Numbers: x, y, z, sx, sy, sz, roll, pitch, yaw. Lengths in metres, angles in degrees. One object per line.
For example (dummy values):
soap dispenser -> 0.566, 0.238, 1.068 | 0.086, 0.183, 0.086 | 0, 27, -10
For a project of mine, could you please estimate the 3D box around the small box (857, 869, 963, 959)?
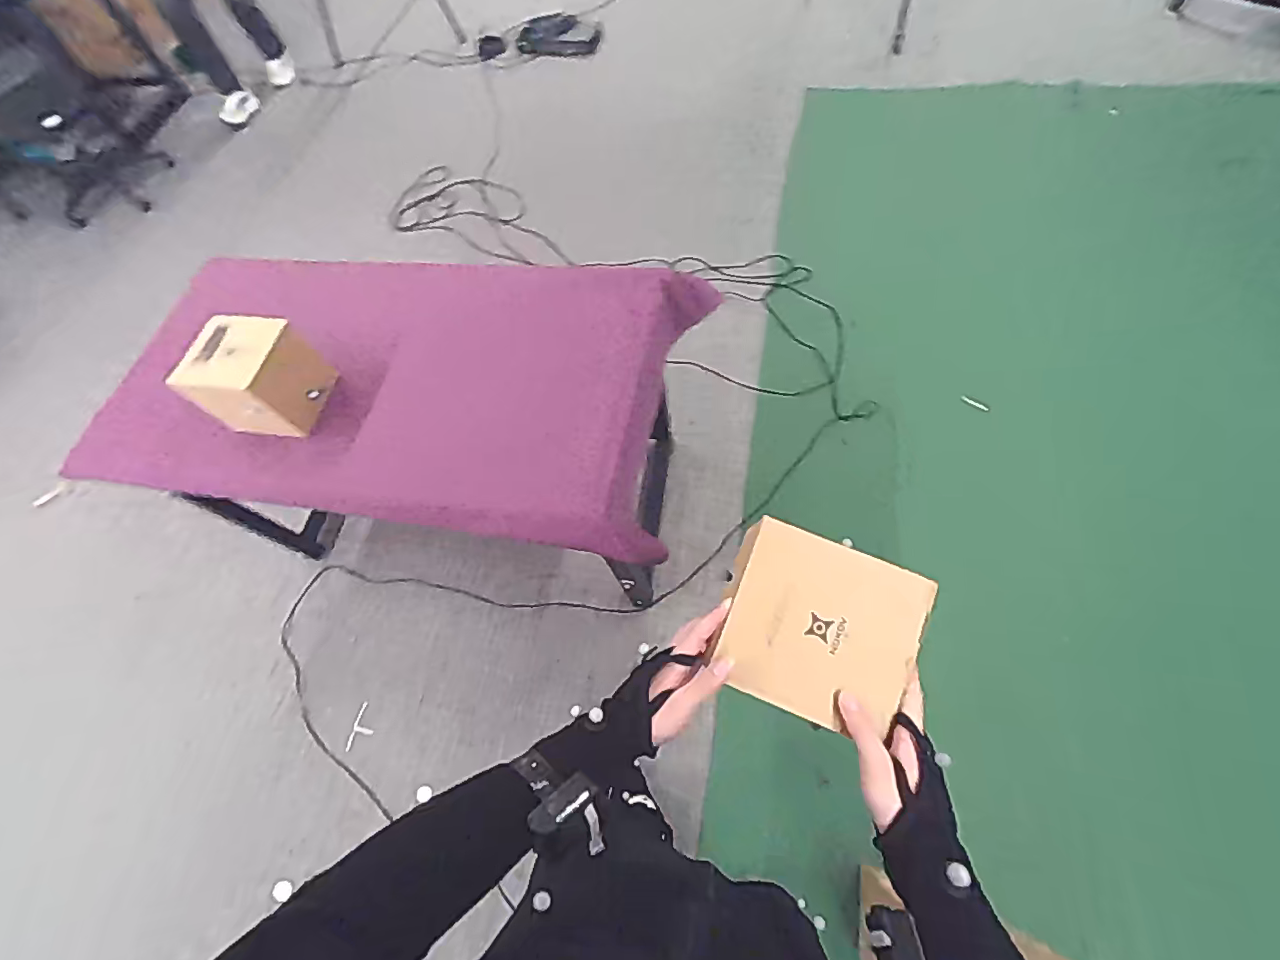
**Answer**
small box -> 0.555, 0.944, 1.123 | 0.168, 0.176, 0.179 | 8, 64, 12

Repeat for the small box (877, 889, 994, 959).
small box -> 0.535, 0.877, 0.976 | 0.168, 0.176, 0.179 | 5, 63, 11

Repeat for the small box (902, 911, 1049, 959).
small box -> 0.516, 0.800, 0.833 | 0.168, 0.176, 0.179 | 3, 64, 11

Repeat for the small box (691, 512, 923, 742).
small box -> 0.165, 0.149, 0.590 | 0.179, 0.176, 0.168 | 21, 80, 8
